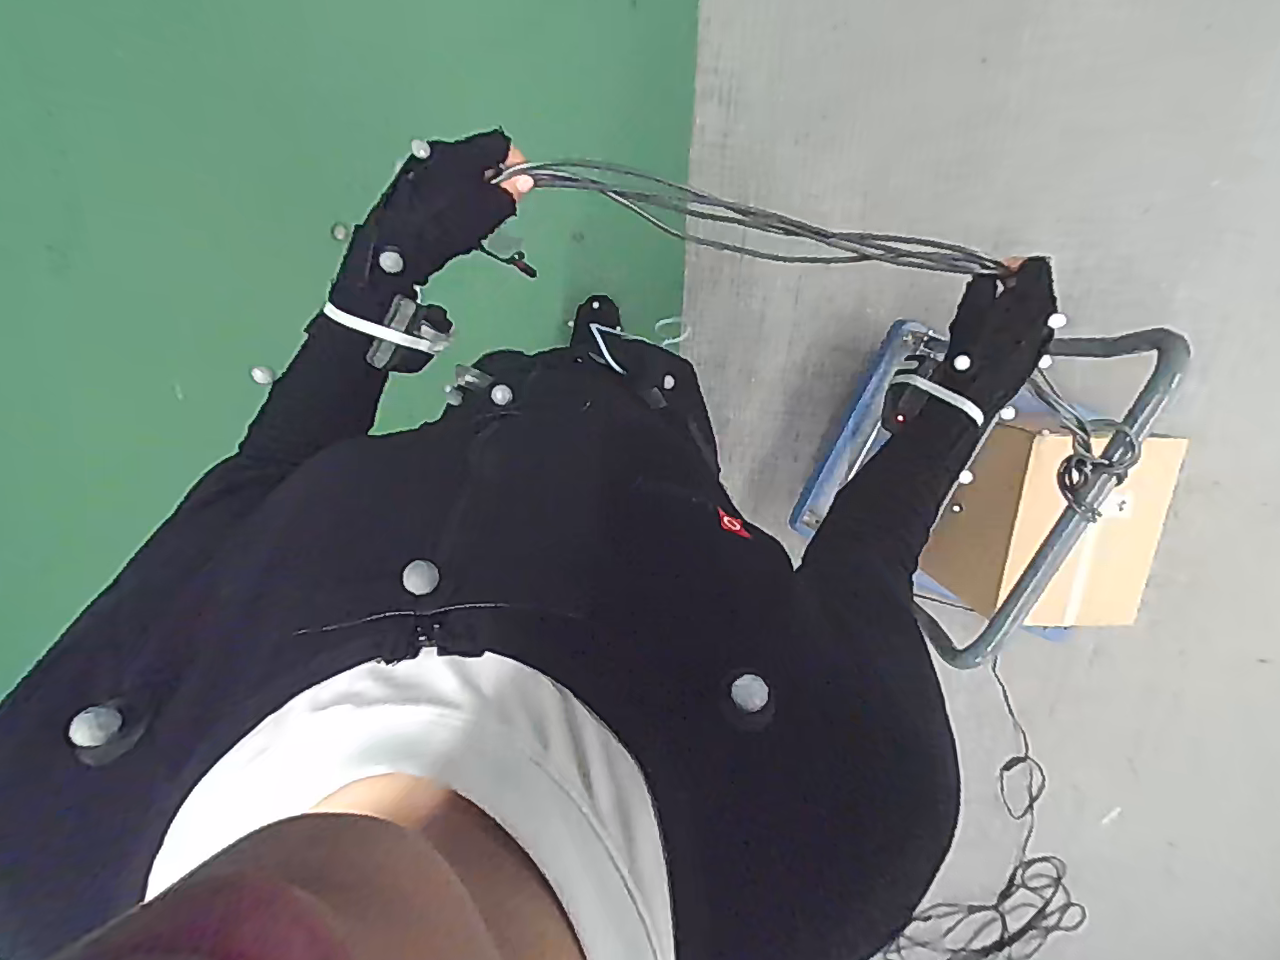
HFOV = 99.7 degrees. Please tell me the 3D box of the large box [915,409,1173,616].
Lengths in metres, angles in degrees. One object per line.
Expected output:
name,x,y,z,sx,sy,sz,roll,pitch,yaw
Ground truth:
large box,0.881,0.059,1.241,0.320,0.320,0.408,2,104,-4
